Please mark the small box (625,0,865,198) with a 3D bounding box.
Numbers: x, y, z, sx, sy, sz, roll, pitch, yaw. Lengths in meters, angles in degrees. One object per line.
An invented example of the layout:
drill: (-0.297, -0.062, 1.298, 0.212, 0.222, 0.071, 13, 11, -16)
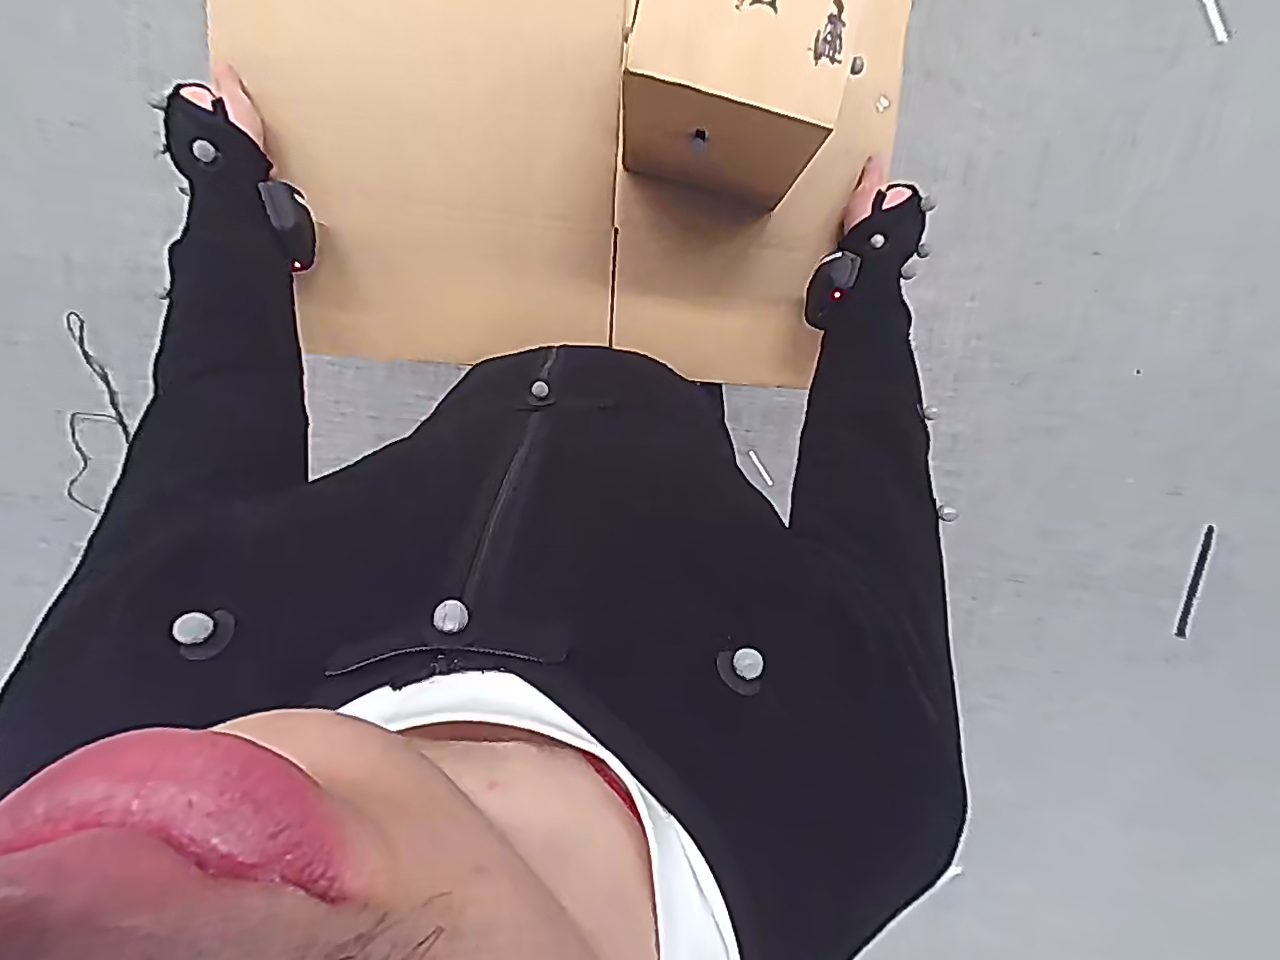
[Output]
small box: (0.089, -0.391, 0.503, 0.179, 0.176, 0.168, 13, 97, -3)
